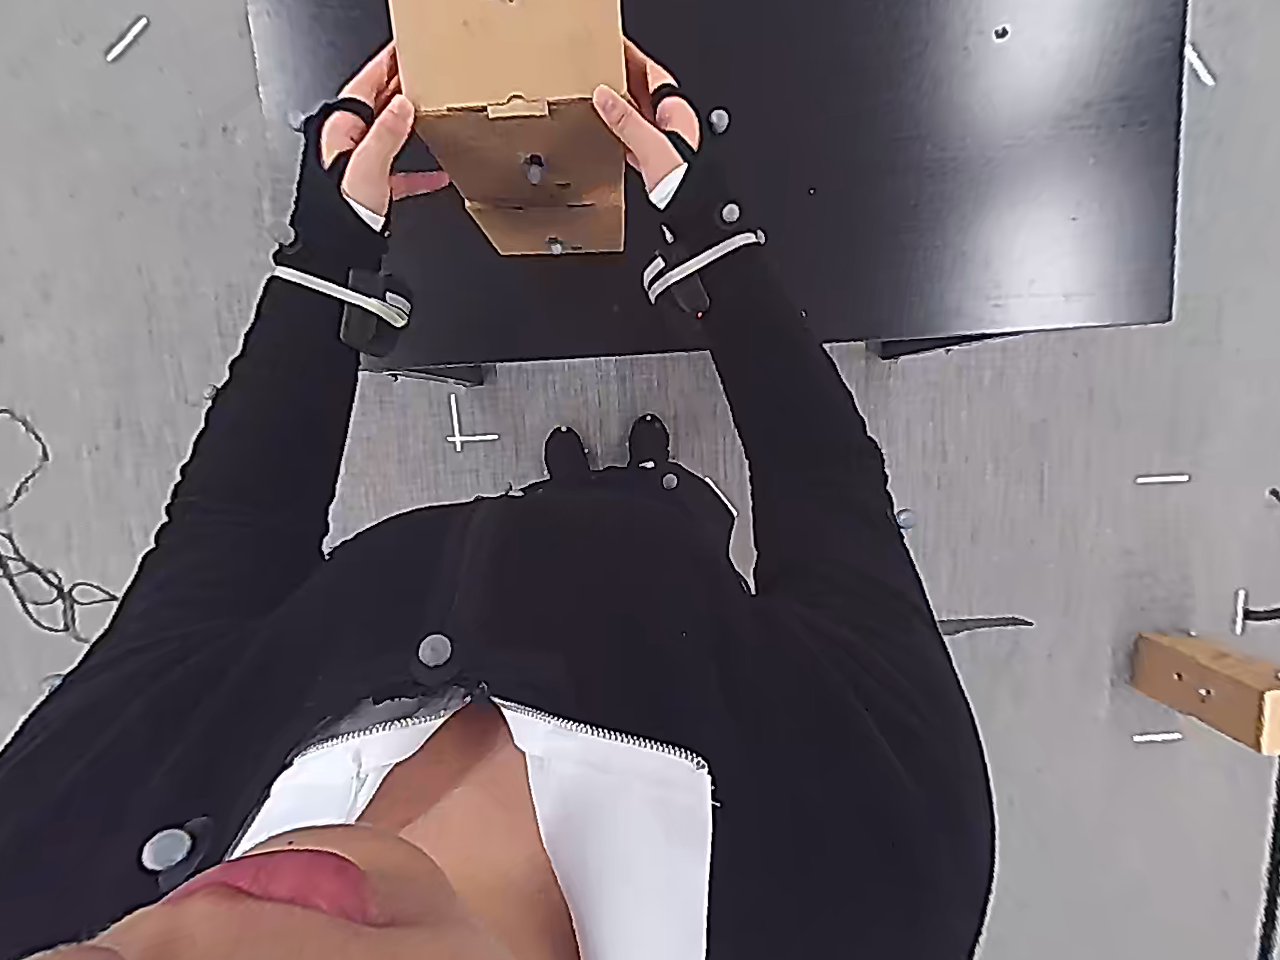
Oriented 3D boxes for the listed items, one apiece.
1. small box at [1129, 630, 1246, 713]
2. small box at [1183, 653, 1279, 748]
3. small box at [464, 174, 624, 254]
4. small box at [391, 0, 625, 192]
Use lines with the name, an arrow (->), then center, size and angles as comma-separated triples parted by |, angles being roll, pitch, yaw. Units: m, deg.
small box -> 1.561, 0.541, 1.549 | 0.168, 0.176, 0.179 | 0, 99, -2
small box -> 1.568, 0.557, 1.387 | 0.179, 0.176, 0.168 | -5, 96, 0
small box -> -0.104, -0.379, 0.629 | 0.168, 0.176, 0.179 | -2, 97, -2
small box -> -0.100, -0.367, 0.466 | 0.168, 0.176, 0.179 | -5, 99, -2
